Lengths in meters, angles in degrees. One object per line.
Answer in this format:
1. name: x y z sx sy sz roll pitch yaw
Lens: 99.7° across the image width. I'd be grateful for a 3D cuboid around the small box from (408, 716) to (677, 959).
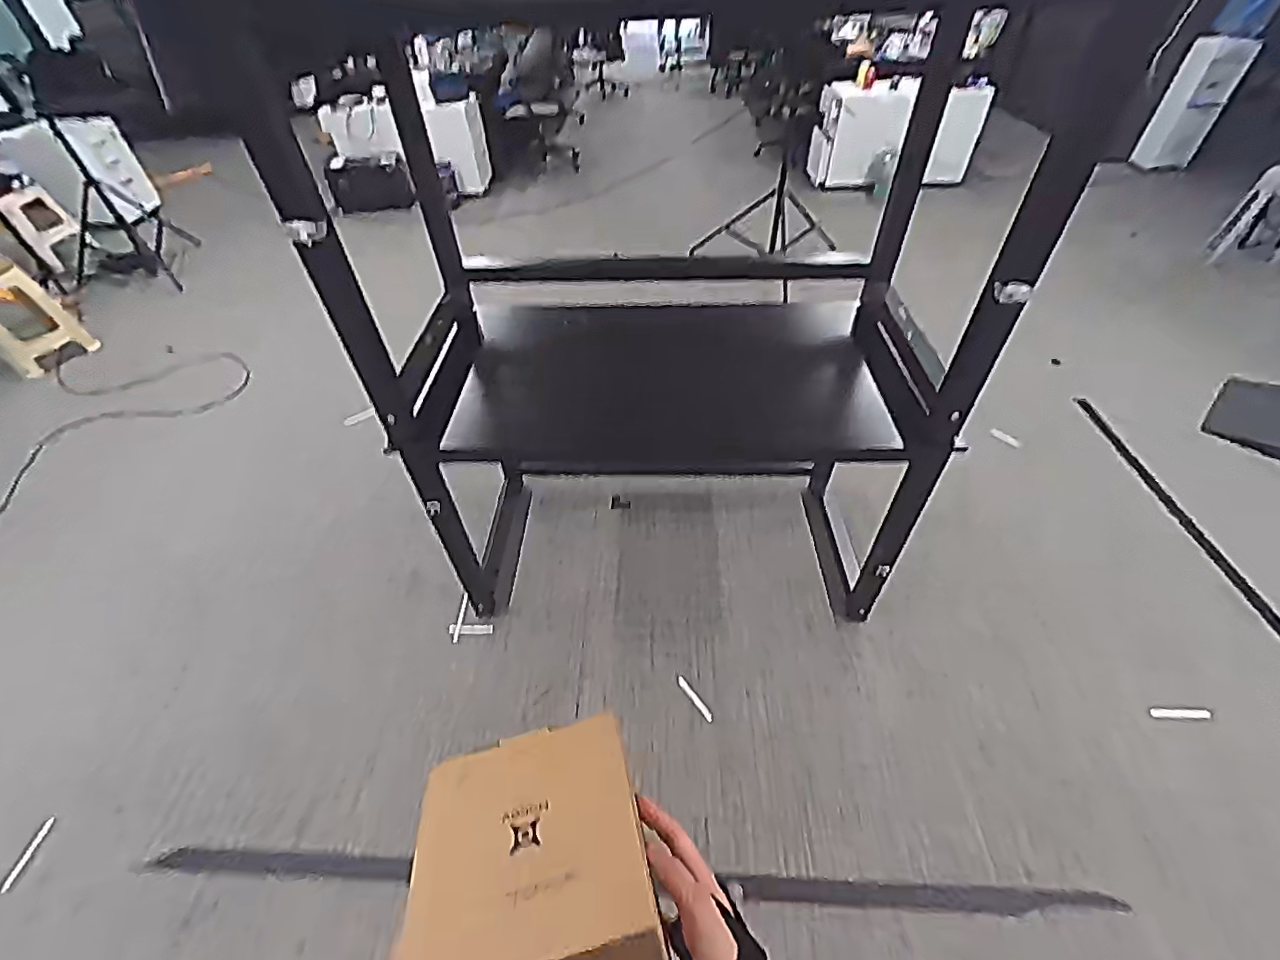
1. small box: -0.067 0.337 0.440 0.168 0.176 0.179 -14 25 -7
